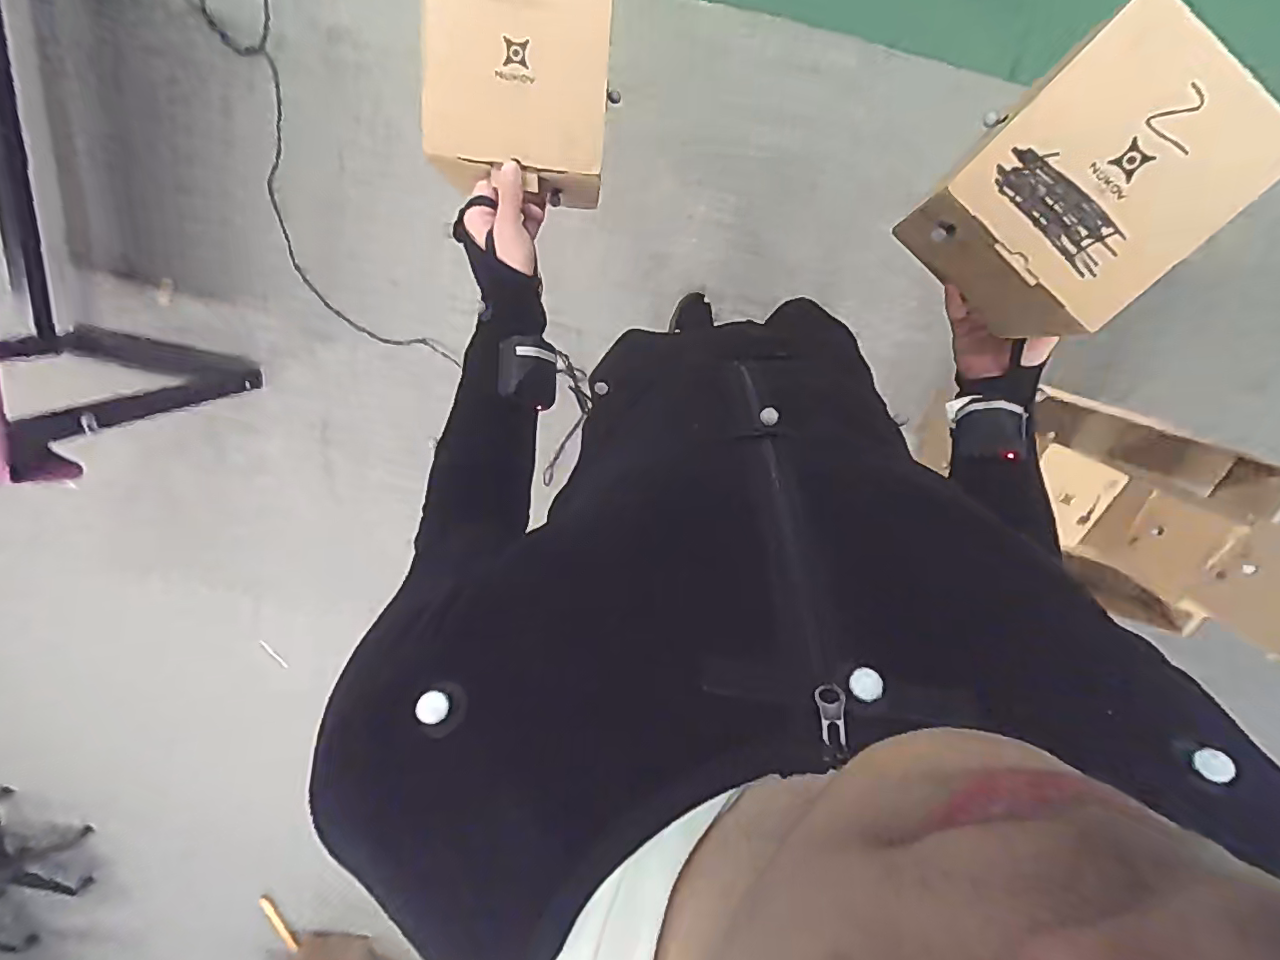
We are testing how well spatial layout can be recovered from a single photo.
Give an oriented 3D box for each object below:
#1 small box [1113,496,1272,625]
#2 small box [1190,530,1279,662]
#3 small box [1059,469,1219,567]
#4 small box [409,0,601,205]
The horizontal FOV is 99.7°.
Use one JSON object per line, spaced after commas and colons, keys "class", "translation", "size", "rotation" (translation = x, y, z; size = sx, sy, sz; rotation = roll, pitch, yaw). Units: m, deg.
{"class": "small box", "translation": [1.018, 0.146, 0.958], "size": [0.179, 0.176, 0.168], "rotation": [16, 110, -1]}
{"class": "small box", "translation": [1.011, 0.198, 0.802], "size": [0.179, 0.176, 0.168], "rotation": [26, 110, -4]}
{"class": "small box", "translation": [1.032, 0.093, 1.110], "size": [0.179, 0.176, 0.168], "rotation": [17, 109, -1]}
{"class": "small box", "translation": [-0.128, -0.397, 0.556], "size": [0.168, 0.176, 0.179], "rotation": [3, 106, -8]}
